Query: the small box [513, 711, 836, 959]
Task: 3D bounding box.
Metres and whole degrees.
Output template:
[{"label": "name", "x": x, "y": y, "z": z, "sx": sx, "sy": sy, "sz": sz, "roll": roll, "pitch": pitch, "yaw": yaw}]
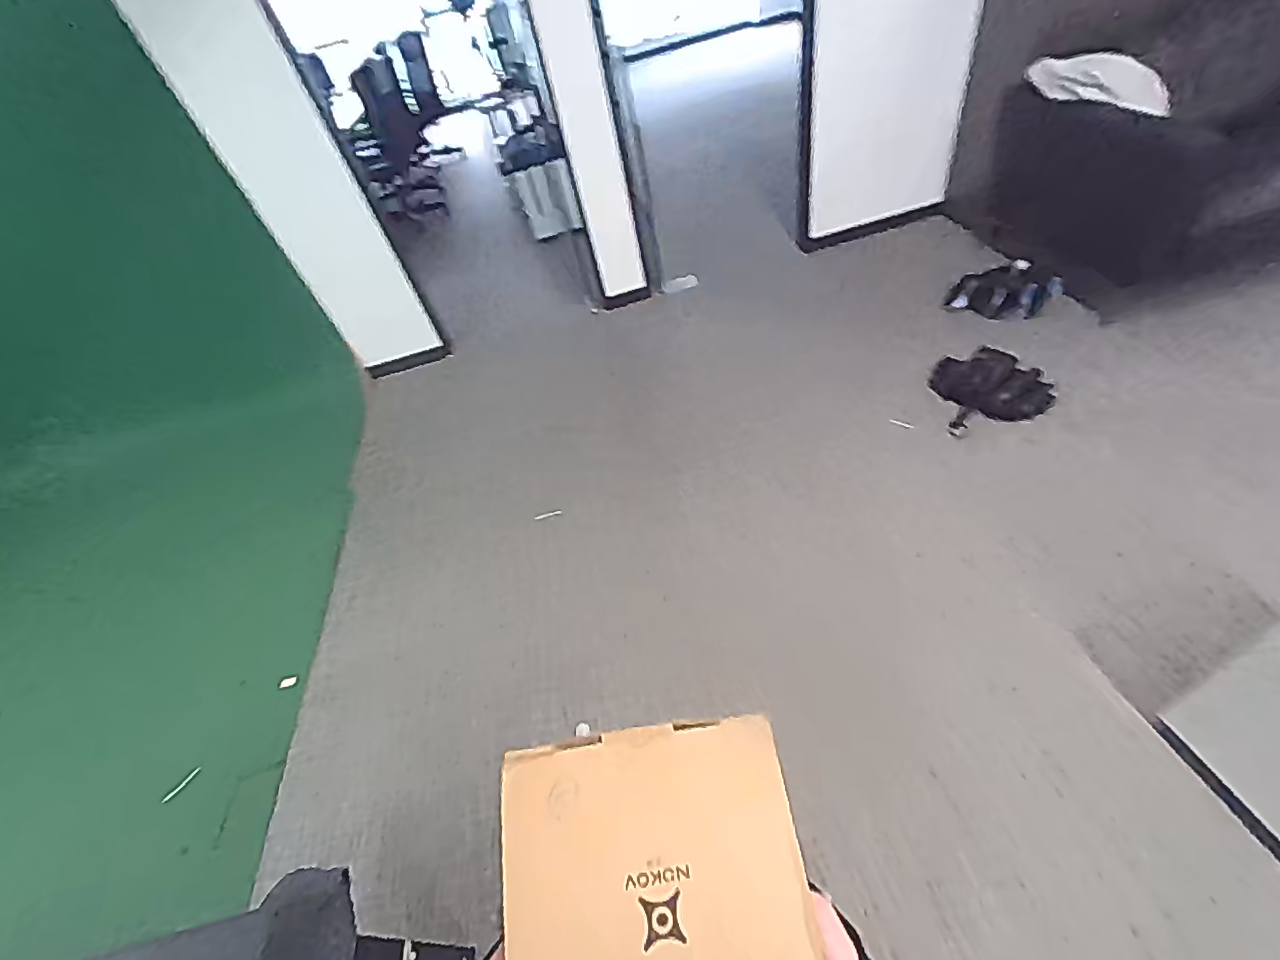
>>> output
[{"label": "small box", "x": 0.011, "y": 0.266, "z": 0.356, "sx": 0.168, "sy": 0.176, "sz": 0.179, "roll": -6, "pitch": 62, "yaw": -7}]
